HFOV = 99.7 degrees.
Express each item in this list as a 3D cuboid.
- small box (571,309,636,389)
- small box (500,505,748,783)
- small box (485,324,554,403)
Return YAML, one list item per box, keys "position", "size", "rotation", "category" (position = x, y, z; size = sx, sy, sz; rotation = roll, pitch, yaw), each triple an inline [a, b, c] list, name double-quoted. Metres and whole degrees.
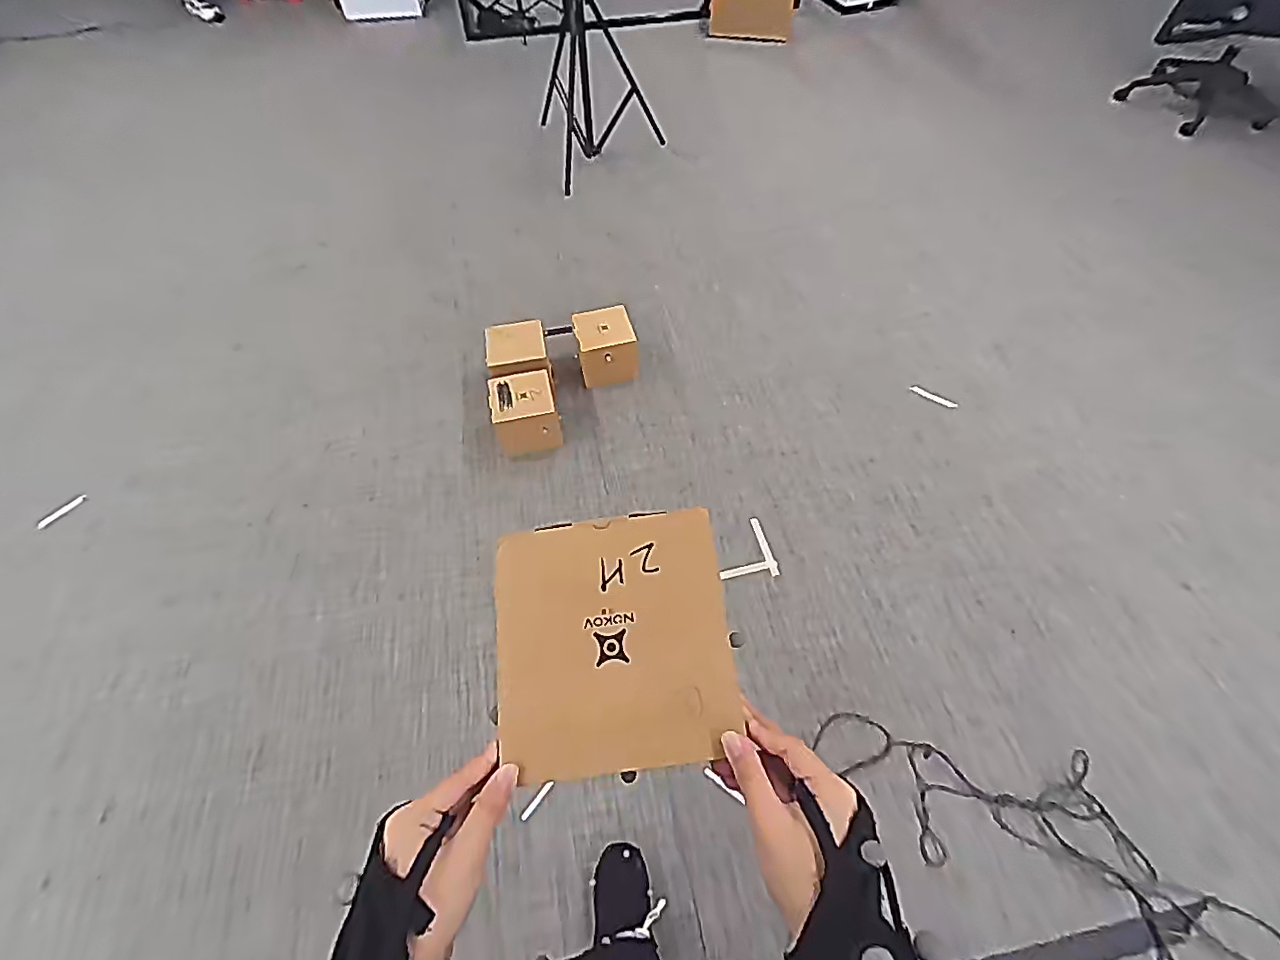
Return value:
- position: [-0.116, -0.419, 1.743]
  size: [0.179, 0.176, 0.168]
  rotation: [-14, 60, -8]
  category: "small box"
- position: [-0.012, 0.138, 0.457]
  size: [0.168, 0.176, 0.179]
  rotation: [-8, 67, 0]
  category: "small box"
- position: [-0.379, -0.369, 1.709]
  size: [0.179, 0.176, 0.168]
  rotation: [-10, 59, -6]
  category: "small box"
